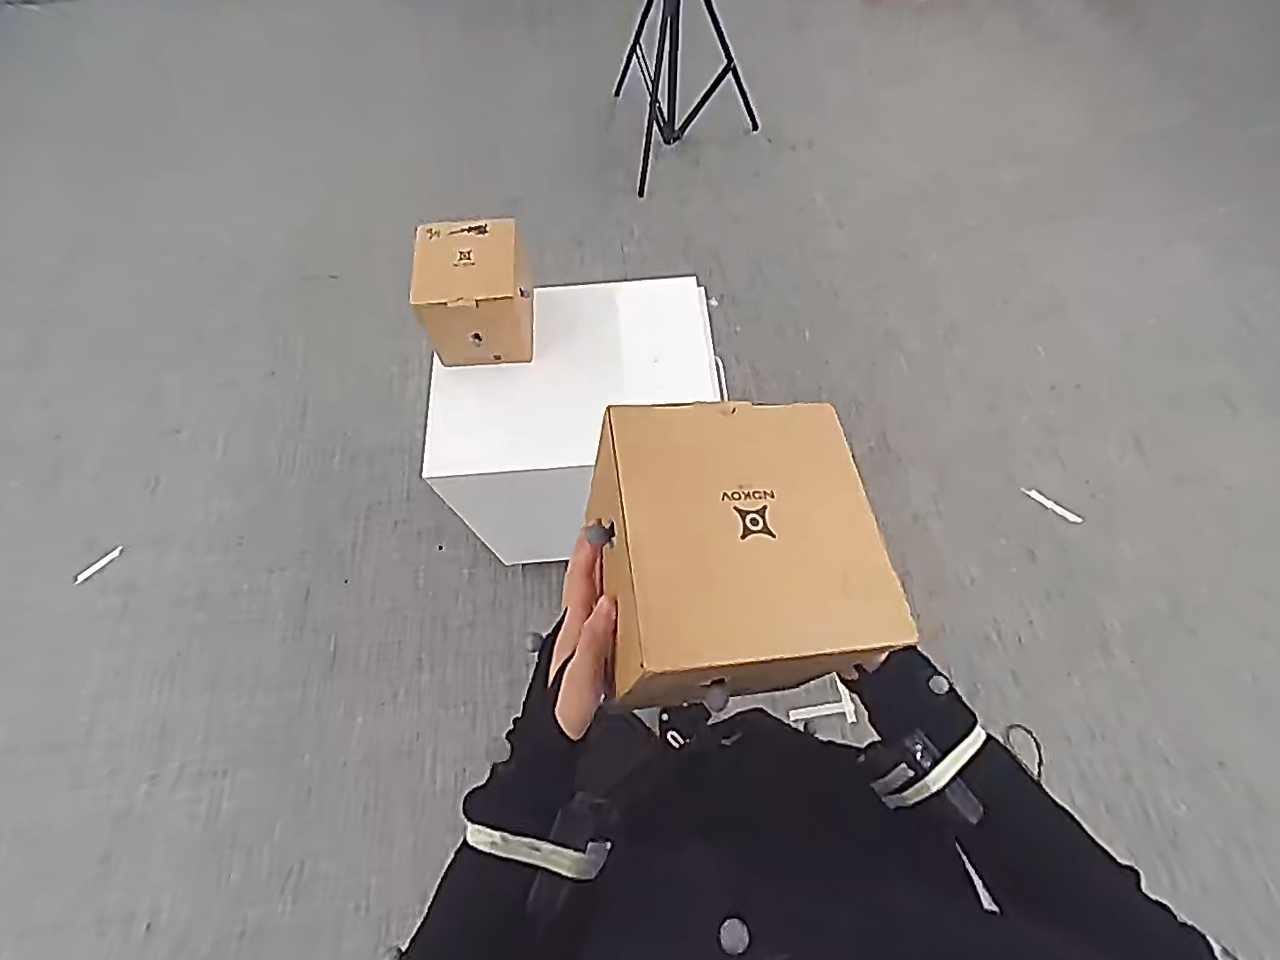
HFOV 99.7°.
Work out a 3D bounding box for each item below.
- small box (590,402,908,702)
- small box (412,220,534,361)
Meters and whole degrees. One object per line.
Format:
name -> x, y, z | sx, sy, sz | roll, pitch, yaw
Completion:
small box -> 0.055, 0.062, 0.408 | 0.168, 0.176, 0.179 | -3, 60, -12
small box -> -0.283, -0.323, 0.952 | 0.168, 0.176, 0.179 | -4, 68, -2
